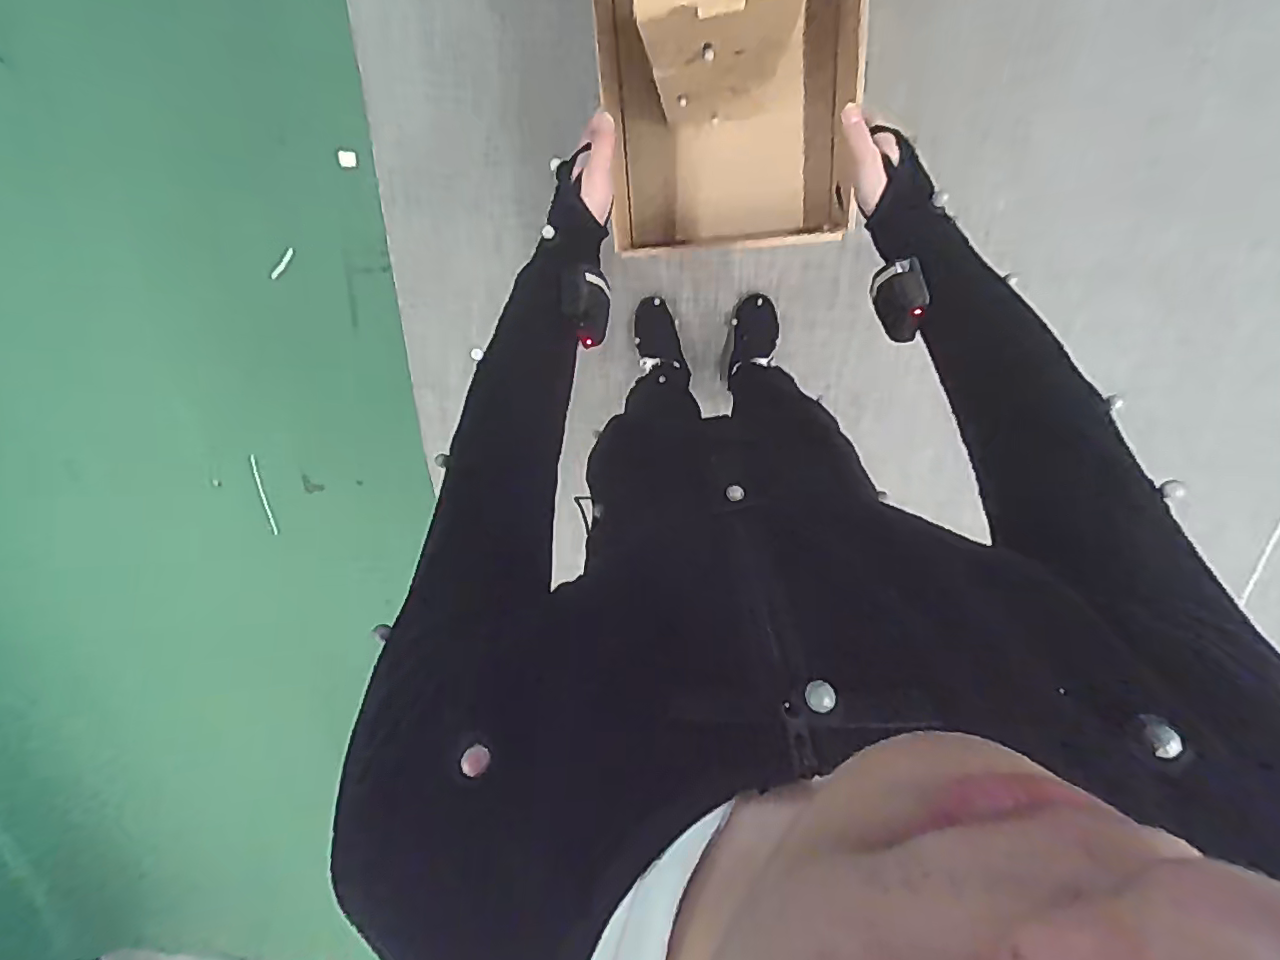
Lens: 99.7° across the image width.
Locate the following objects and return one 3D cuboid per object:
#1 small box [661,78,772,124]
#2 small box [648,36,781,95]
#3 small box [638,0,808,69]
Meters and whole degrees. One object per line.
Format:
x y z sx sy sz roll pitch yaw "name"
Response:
0.117 -0.683 0.843 0.168 0.176 0.179 -1 112 9 "small box"
0.096 -0.621 0.693 0.168 0.176 0.179 -3 111 9 "small box"
0.079 -0.557 0.545 0.168 0.176 0.179 -4 112 9 "small box"
